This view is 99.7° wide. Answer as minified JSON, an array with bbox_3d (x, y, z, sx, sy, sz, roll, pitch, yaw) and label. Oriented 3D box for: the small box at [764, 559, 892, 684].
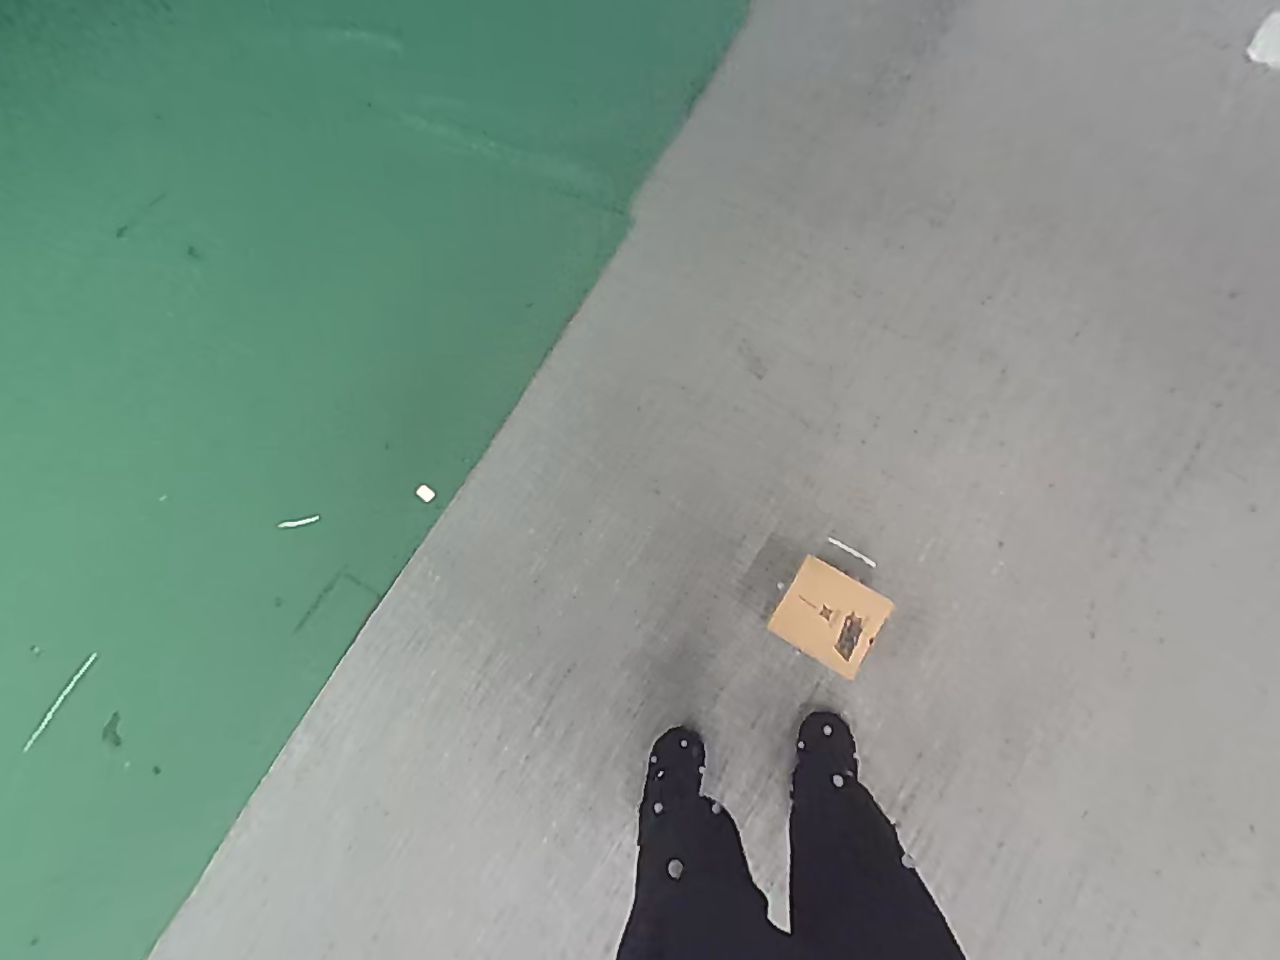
[{"bbox_3d":[0.366,0.275,1.080,0.179,0.176,0.168,31,85,18],"label":"small box"}]
